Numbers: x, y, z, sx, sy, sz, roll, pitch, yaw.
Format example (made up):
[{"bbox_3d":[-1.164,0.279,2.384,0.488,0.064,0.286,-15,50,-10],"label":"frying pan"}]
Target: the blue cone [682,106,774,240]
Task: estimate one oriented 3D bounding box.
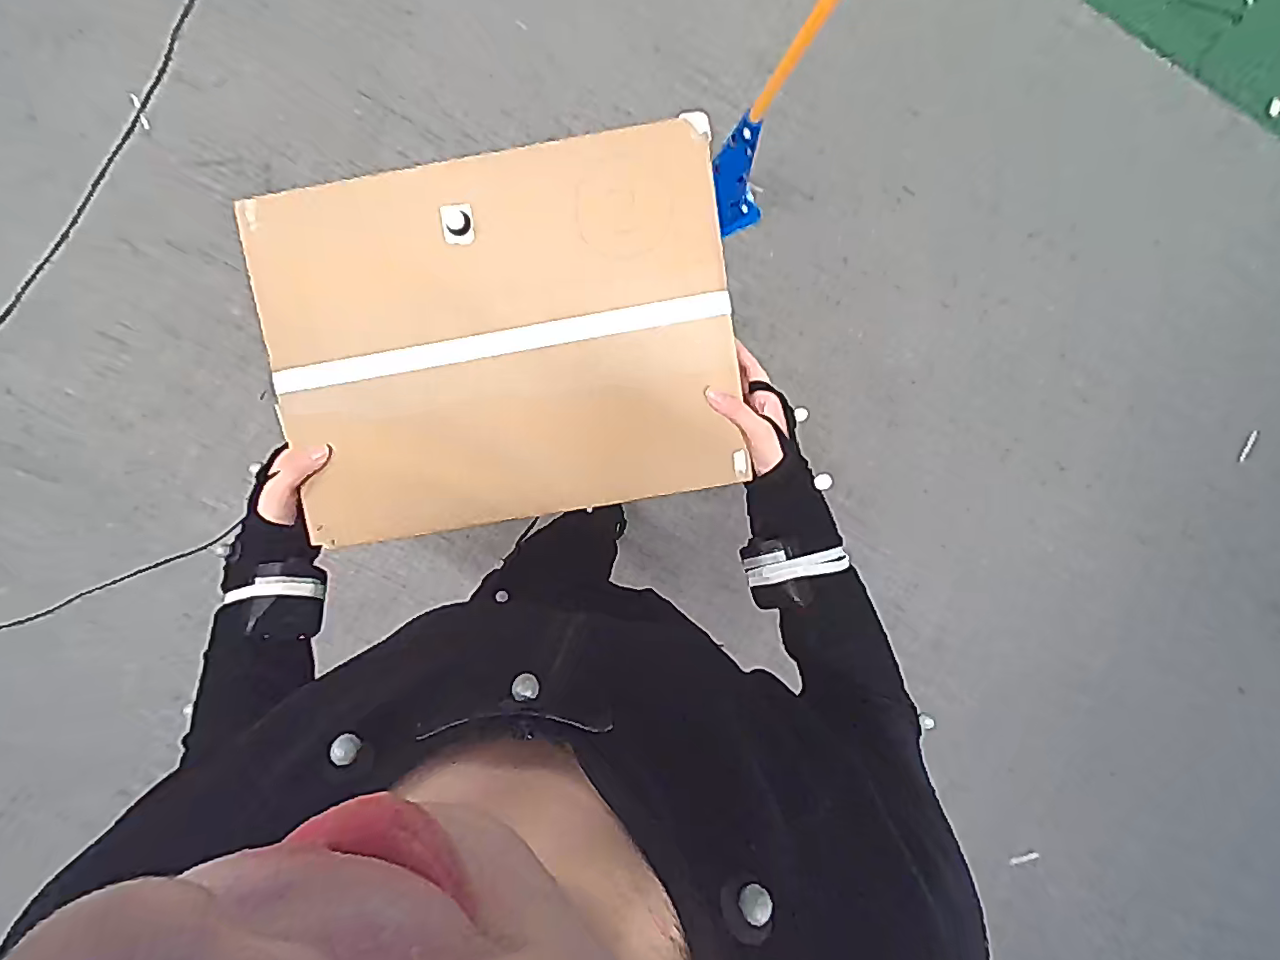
[{"bbox_3d":[0.243,-0.777,1.318,0.193,0.380,0.192,-28,93,-5],"label":"blue cone"}]
